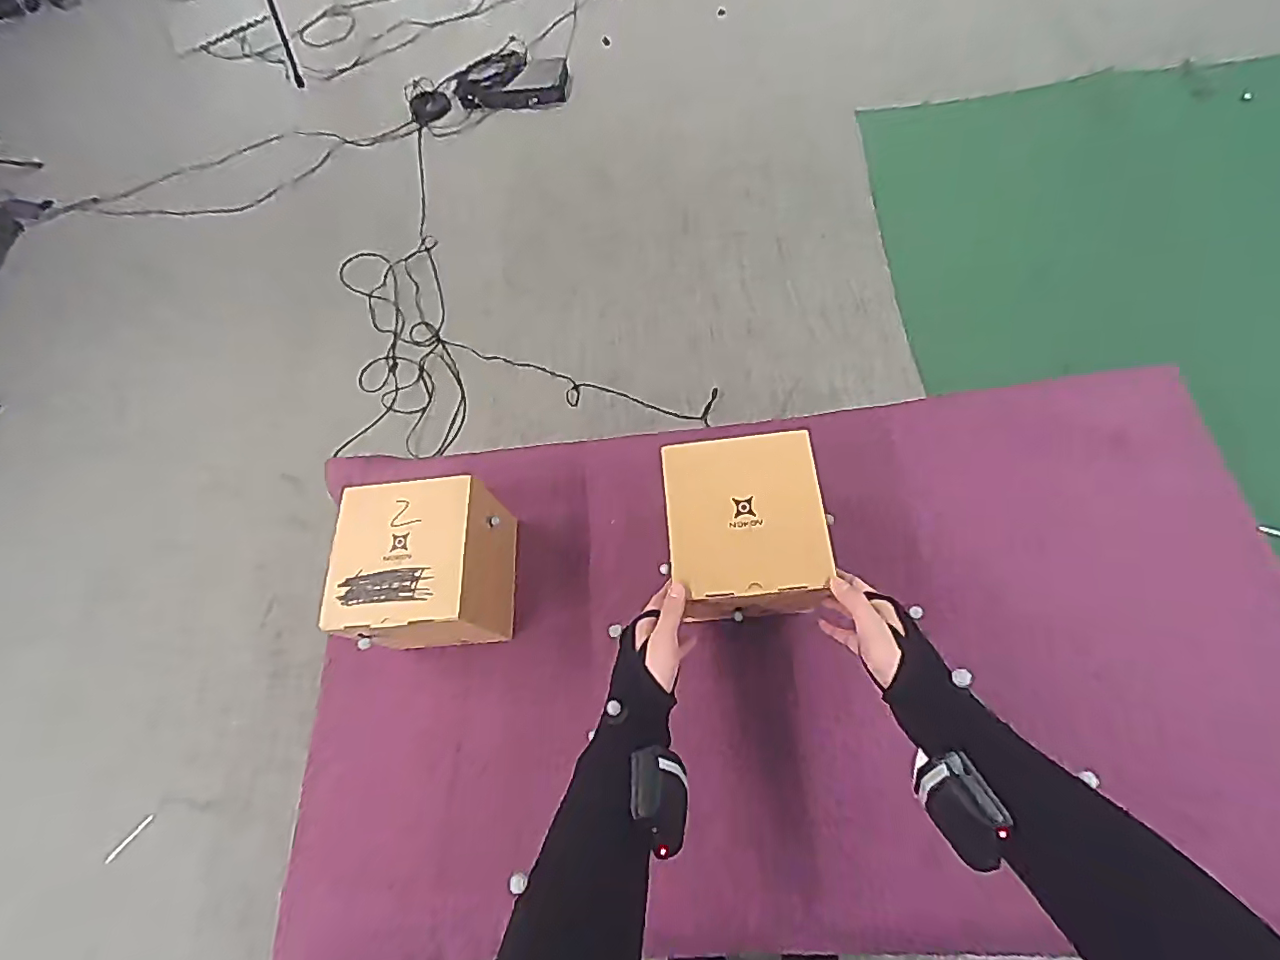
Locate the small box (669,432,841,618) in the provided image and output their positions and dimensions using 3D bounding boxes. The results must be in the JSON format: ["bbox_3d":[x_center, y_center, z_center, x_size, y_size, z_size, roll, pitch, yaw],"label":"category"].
[{"bbox_3d":[0.123,0.062,0.648,0.168,0.176,0.179,-6,69,4],"label":"small box"}]
